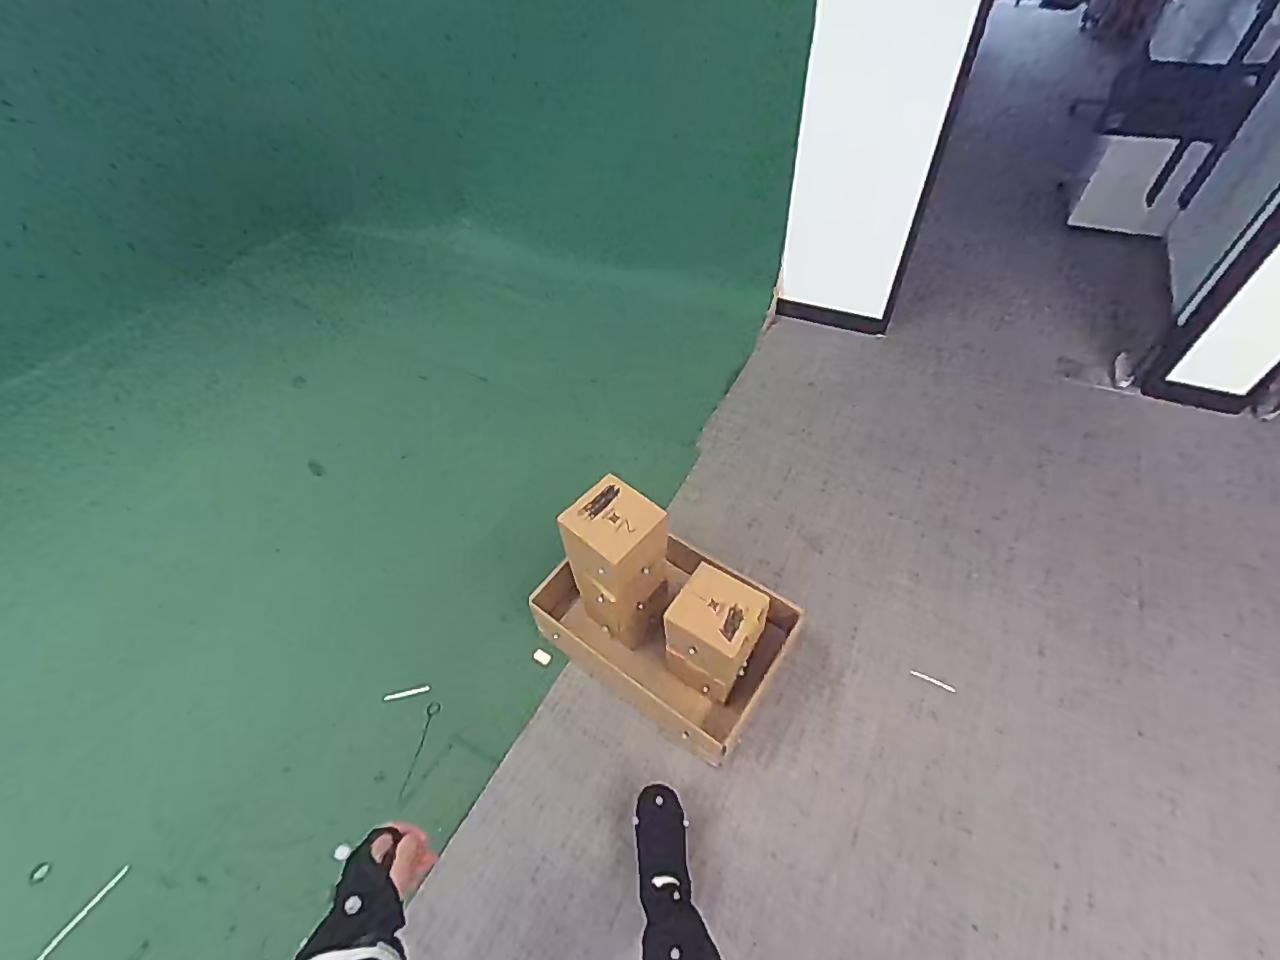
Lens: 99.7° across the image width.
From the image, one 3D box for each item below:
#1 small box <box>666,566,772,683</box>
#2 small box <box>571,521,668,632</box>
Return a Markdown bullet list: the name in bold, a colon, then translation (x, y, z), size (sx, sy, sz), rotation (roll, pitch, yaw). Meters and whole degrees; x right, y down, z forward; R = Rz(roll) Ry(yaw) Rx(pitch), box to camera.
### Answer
- **small box**: translation (0.180, 0.335, 1.230), size (0.179, 0.176, 0.168), rotation (26, 58, 26)
- **small box**: translation (-0.047, 0.241, 1.337), size (0.168, 0.176, 0.179), rotation (-37, 59, -23)
